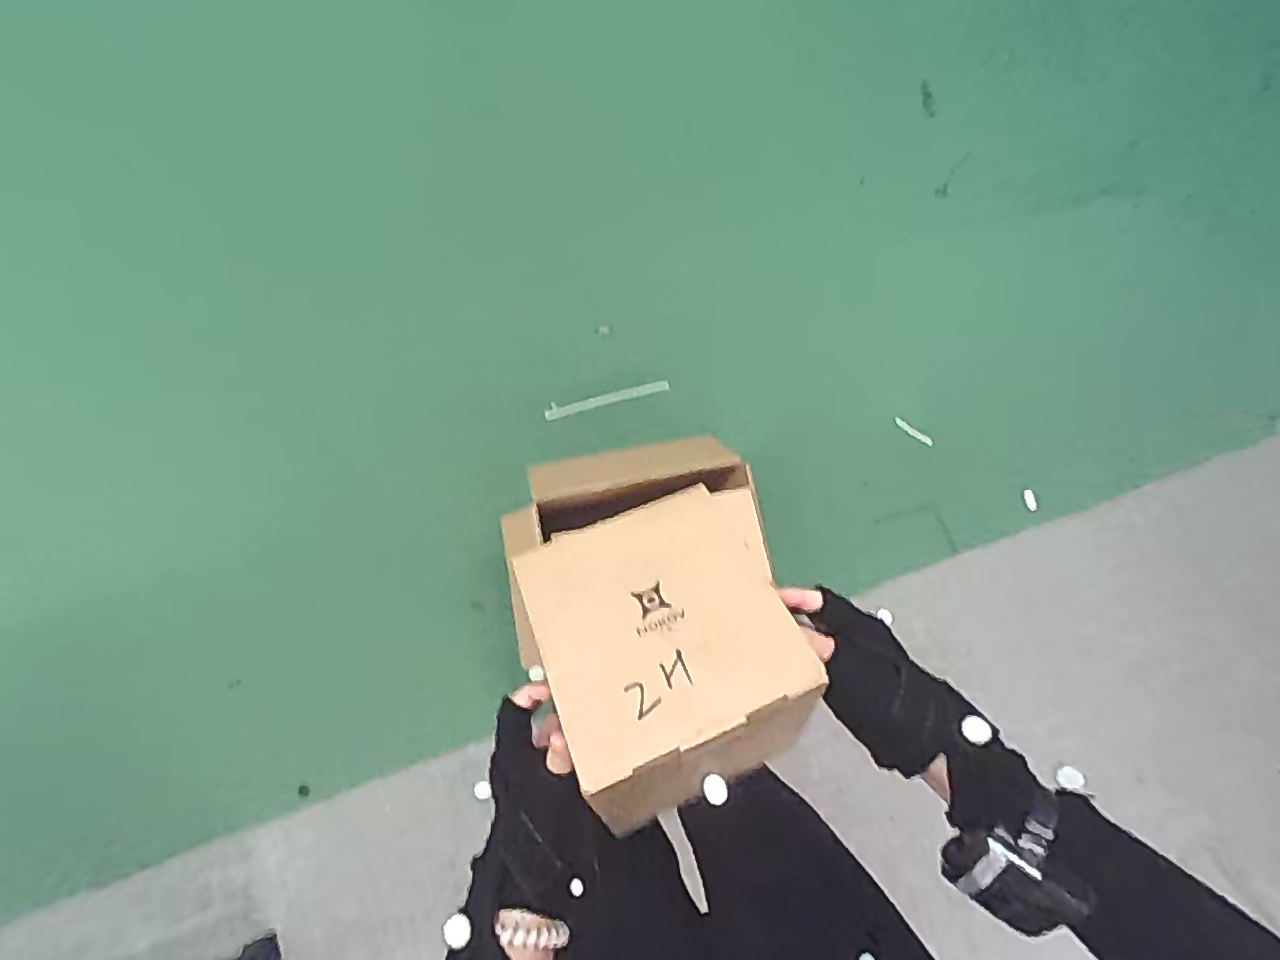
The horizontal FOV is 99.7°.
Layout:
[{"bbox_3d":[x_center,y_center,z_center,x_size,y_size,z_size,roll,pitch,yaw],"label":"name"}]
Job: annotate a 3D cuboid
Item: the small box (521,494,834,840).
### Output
[{"bbox_3d":[0.020,0.147,0.428,0.168,0.176,0.179,-20,50,-10],"label":"small box"}]
